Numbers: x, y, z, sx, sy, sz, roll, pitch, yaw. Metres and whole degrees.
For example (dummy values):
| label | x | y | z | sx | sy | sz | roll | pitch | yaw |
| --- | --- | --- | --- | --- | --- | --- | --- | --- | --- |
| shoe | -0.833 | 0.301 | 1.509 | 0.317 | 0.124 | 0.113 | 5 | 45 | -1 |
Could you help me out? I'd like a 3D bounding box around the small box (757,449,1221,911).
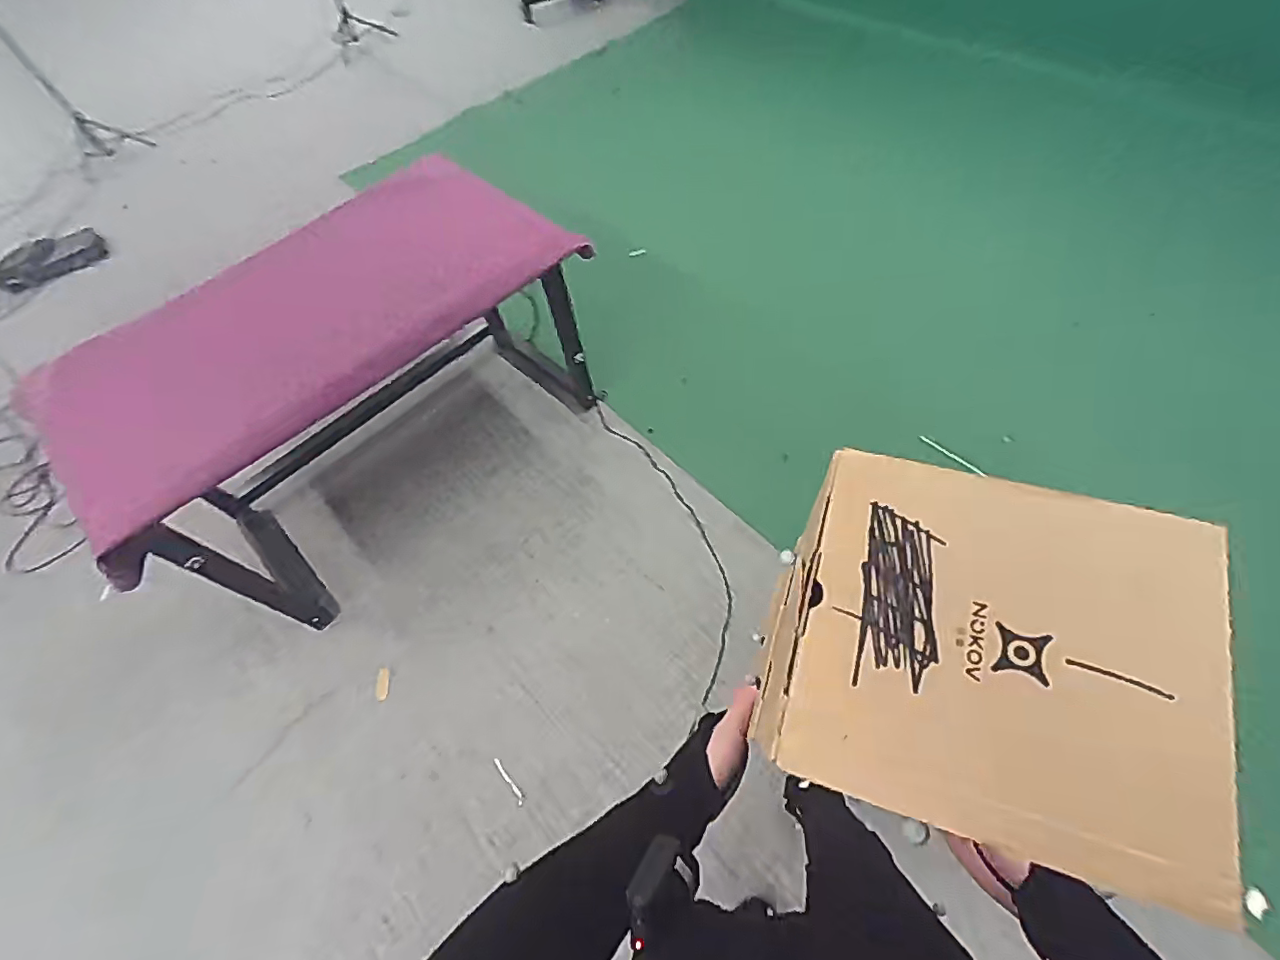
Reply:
| label | x | y | z | sx | sy | sz | roll | pitch | yaw |
| --- | --- | --- | --- | --- | --- | --- | --- | --- | --- |
| small box | 0.174 | 0.104 | 0.324 | 0.179 | 0.176 | 0.168 | 14 | 71 | 14 |
